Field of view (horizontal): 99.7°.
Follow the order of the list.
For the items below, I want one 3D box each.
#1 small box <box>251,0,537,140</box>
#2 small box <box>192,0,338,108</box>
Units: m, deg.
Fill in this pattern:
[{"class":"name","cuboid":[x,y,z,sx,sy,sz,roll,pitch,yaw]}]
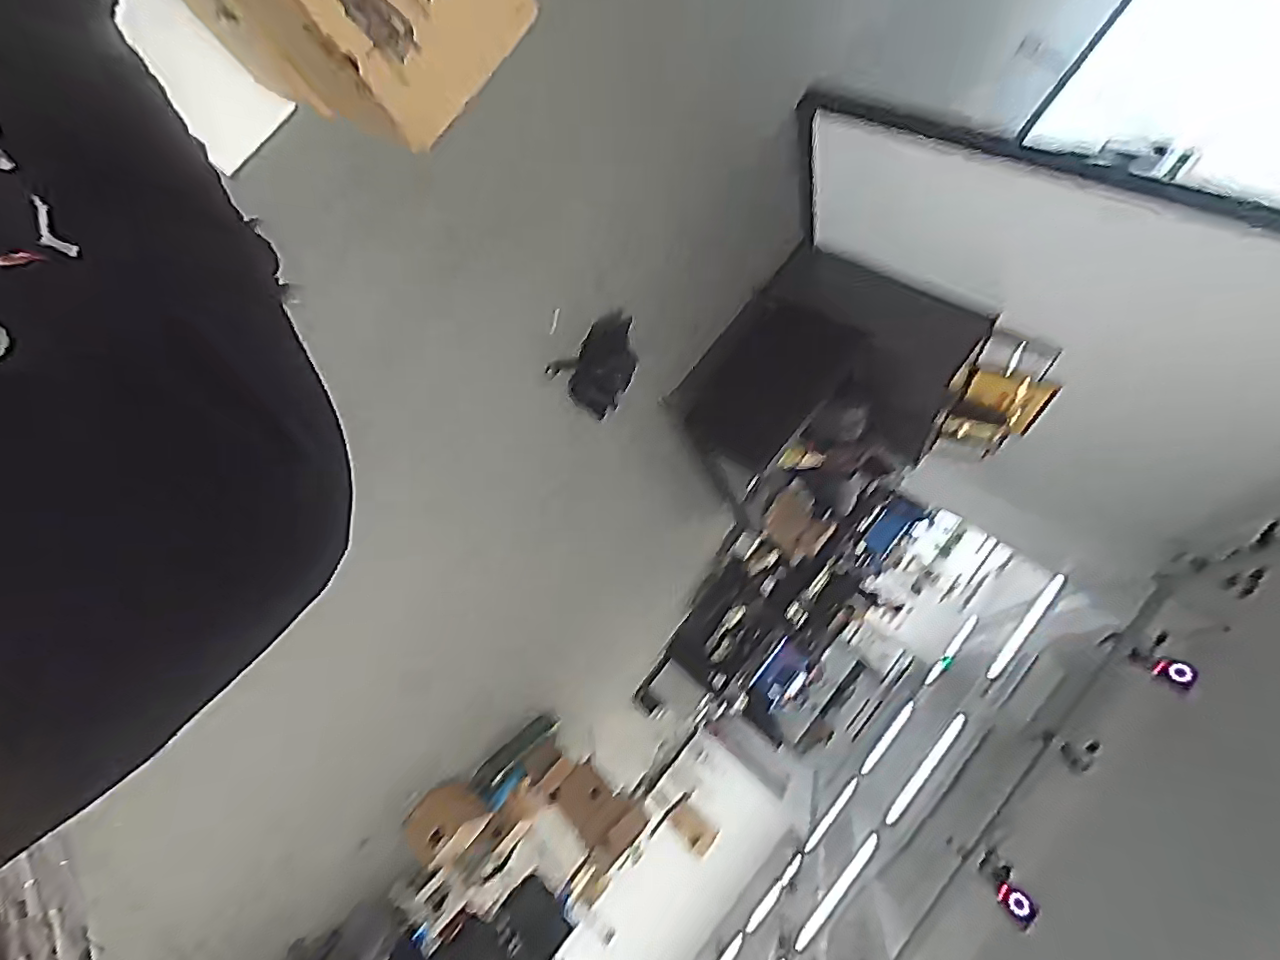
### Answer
[{"class":"small box","cuboid":[-0.228,-0.434,0.449,0.179,0.176,0.168,-51,154,-3]},{"class":"small box","cuboid":[-0.348,-0.516,0.526,0.179,0.176,0.168,-50,153,-5]}]
